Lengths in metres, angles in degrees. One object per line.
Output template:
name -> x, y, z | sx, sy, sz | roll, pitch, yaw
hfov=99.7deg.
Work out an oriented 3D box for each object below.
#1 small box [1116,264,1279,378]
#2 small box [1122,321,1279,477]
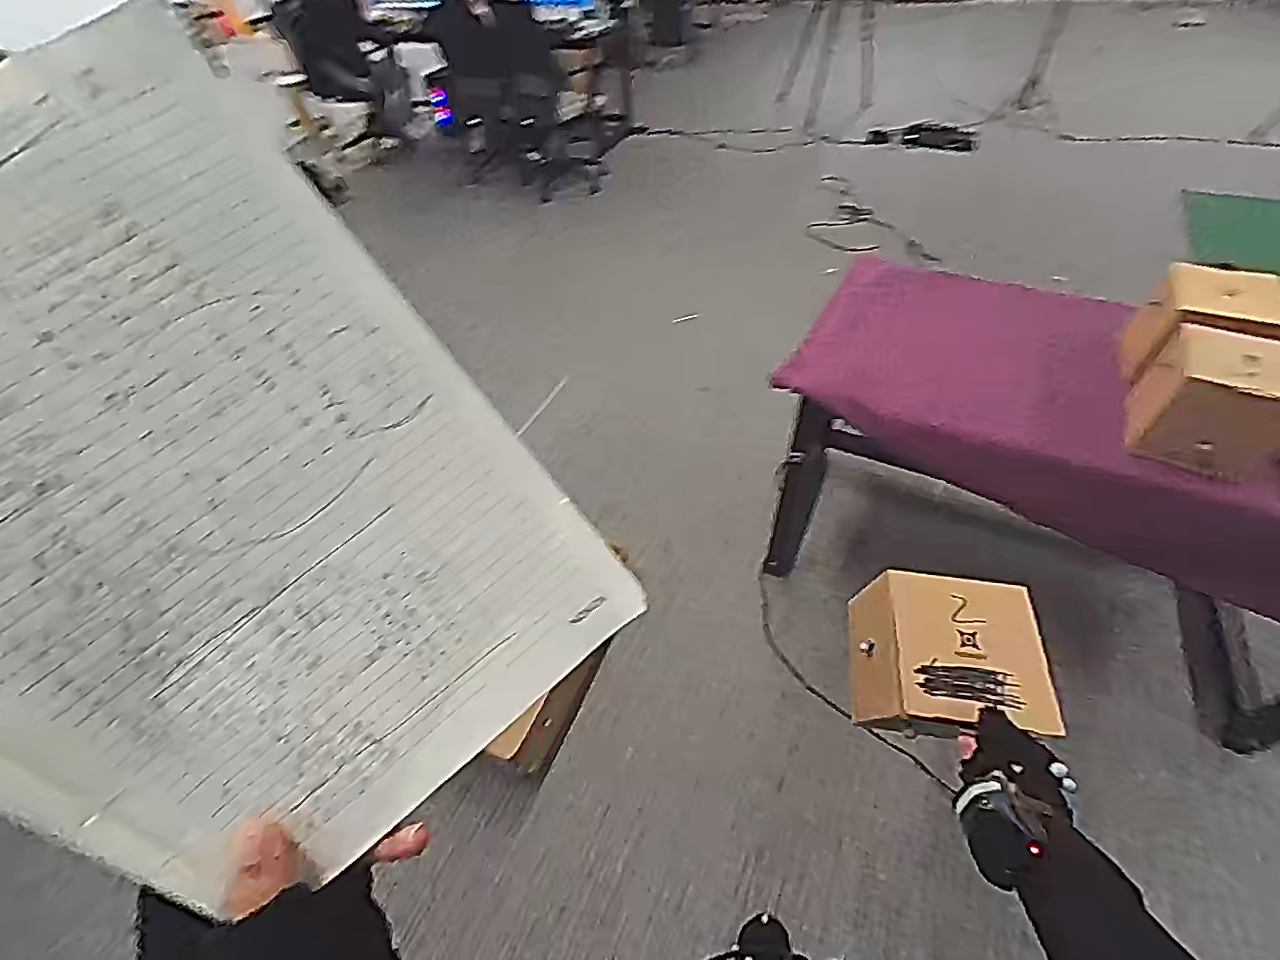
small box -> 1.073, -0.291, 1.052 | 0.168, 0.176, 0.179 | 18, 52, 19
small box -> 0.966, -0.138, 0.919 | 0.168, 0.176, 0.179 | 23, 54, 23
